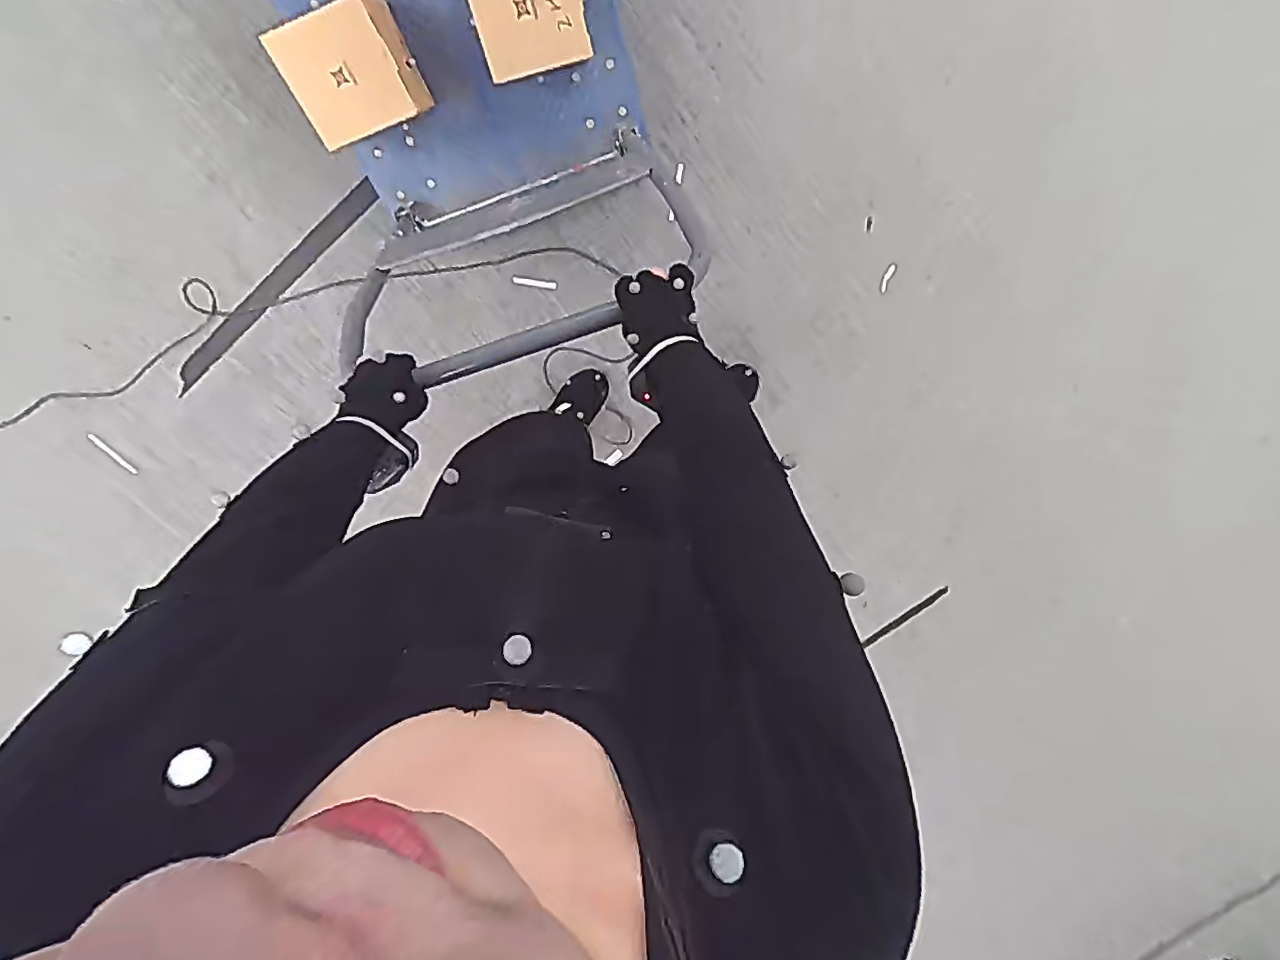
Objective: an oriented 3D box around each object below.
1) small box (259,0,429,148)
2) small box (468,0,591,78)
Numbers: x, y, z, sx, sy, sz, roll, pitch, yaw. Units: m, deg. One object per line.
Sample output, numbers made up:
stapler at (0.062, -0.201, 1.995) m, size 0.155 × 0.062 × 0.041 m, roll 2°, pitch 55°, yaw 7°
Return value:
small box at (-0.491, -0.700, 0.930) m, size 0.179 × 0.176 × 0.168 m, roll -21°, pitch 128°, yaw 4°
small box at (-0.187, -0.795, 0.907) m, size 0.179 × 0.176 × 0.168 m, roll -14°, pitch 129°, yaw 2°
